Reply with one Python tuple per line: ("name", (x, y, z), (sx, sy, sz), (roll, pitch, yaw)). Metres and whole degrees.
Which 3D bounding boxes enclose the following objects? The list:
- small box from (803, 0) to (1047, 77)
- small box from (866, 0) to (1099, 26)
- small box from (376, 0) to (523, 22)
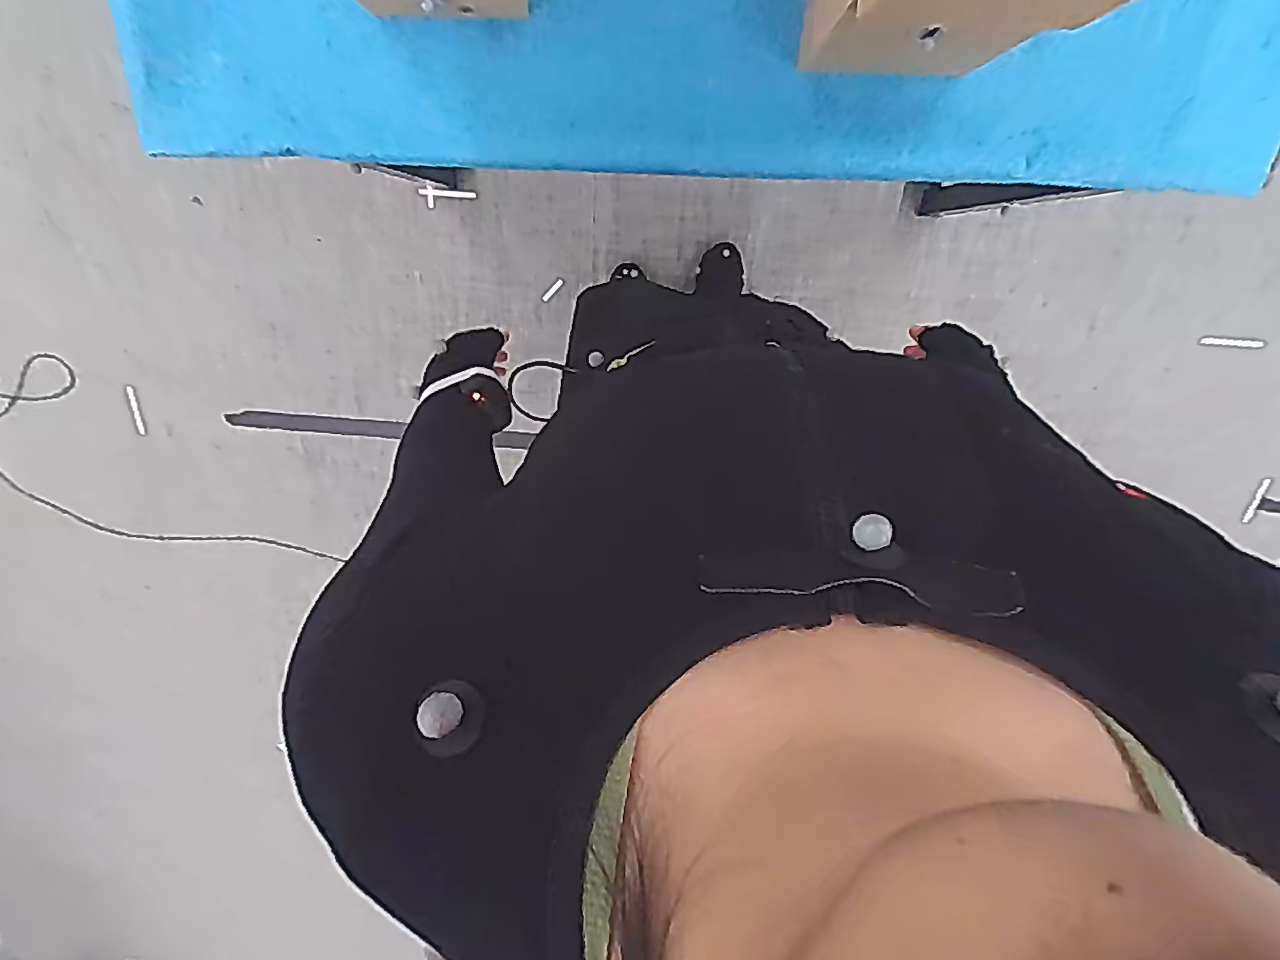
("small box", (0.250, -0.464, 0.457), (0.179, 0.176, 0.168), (3, 114, 1))
("small box", (0.251, -0.393, 0.311), (0.179, 0.176, 0.168), (0, 113, 2))
("small box", (-0.196, -0.526, 0.450), (0.168, 0.176, 0.179), (6, 115, 1))
